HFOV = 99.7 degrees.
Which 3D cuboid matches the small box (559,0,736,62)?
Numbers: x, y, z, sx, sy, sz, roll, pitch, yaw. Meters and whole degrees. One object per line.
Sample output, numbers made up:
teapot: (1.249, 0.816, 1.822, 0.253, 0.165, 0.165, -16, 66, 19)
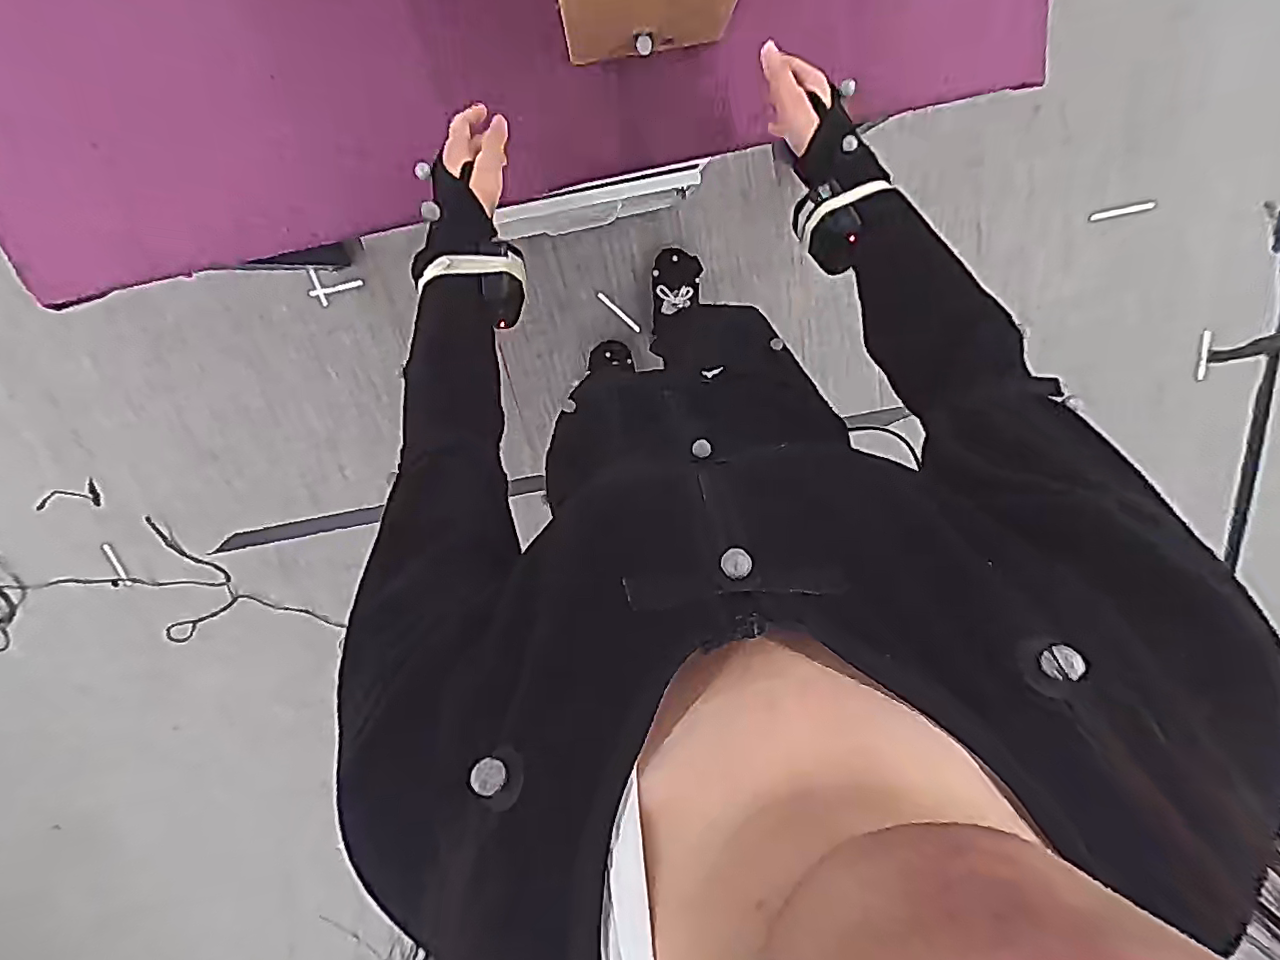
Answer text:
small box: (-0.001, -0.514, 0.477, 0.168, 0.176, 0.179, -8, 110, 2)
